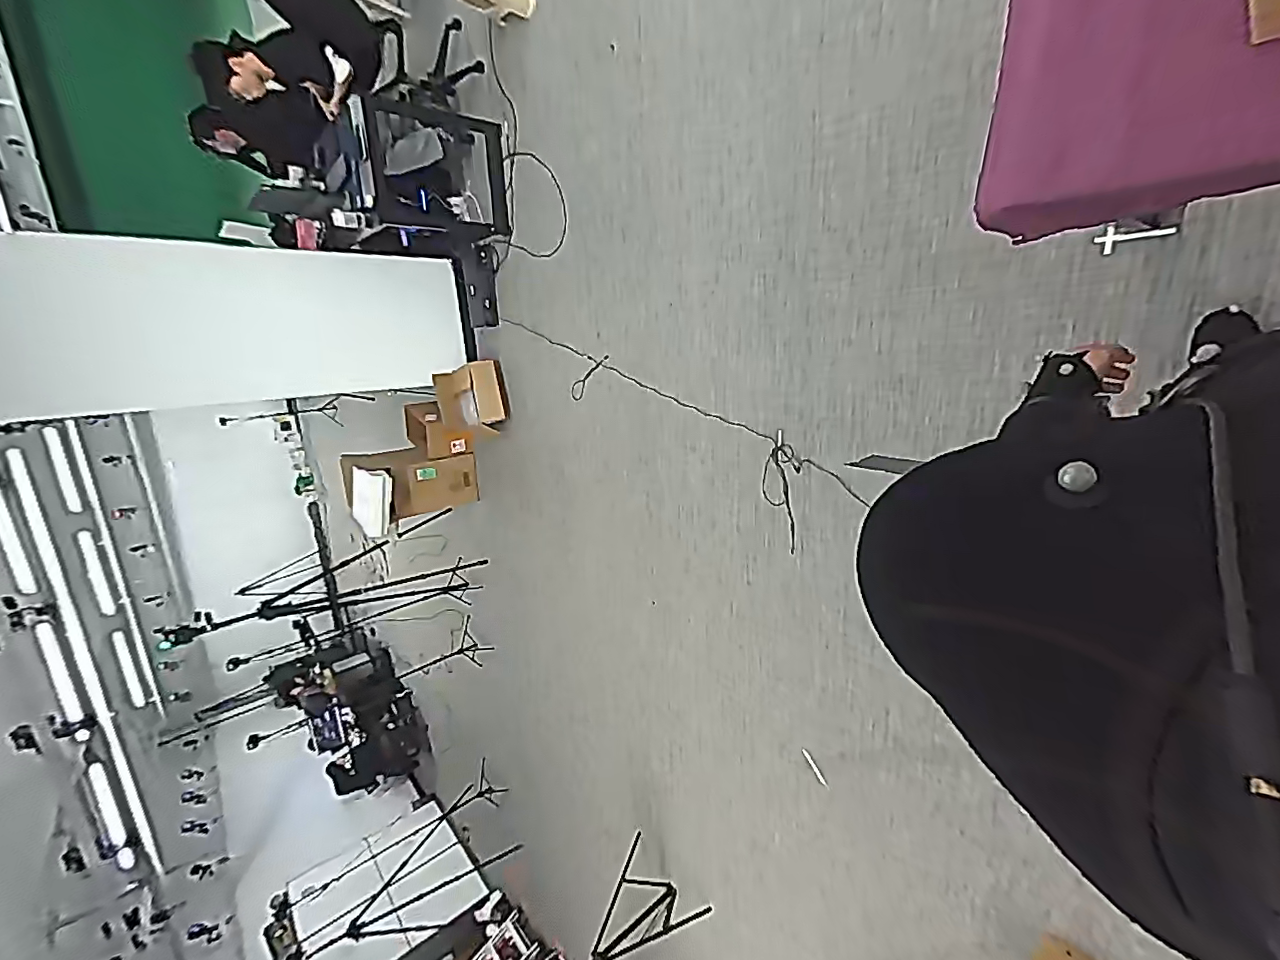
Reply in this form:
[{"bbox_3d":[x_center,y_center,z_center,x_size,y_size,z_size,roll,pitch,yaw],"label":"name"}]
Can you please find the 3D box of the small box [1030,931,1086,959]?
[{"bbox_3d":[1.222,1.477,1.563,0.168,0.176,0.179,19,117,47],"label":"small box"}]
